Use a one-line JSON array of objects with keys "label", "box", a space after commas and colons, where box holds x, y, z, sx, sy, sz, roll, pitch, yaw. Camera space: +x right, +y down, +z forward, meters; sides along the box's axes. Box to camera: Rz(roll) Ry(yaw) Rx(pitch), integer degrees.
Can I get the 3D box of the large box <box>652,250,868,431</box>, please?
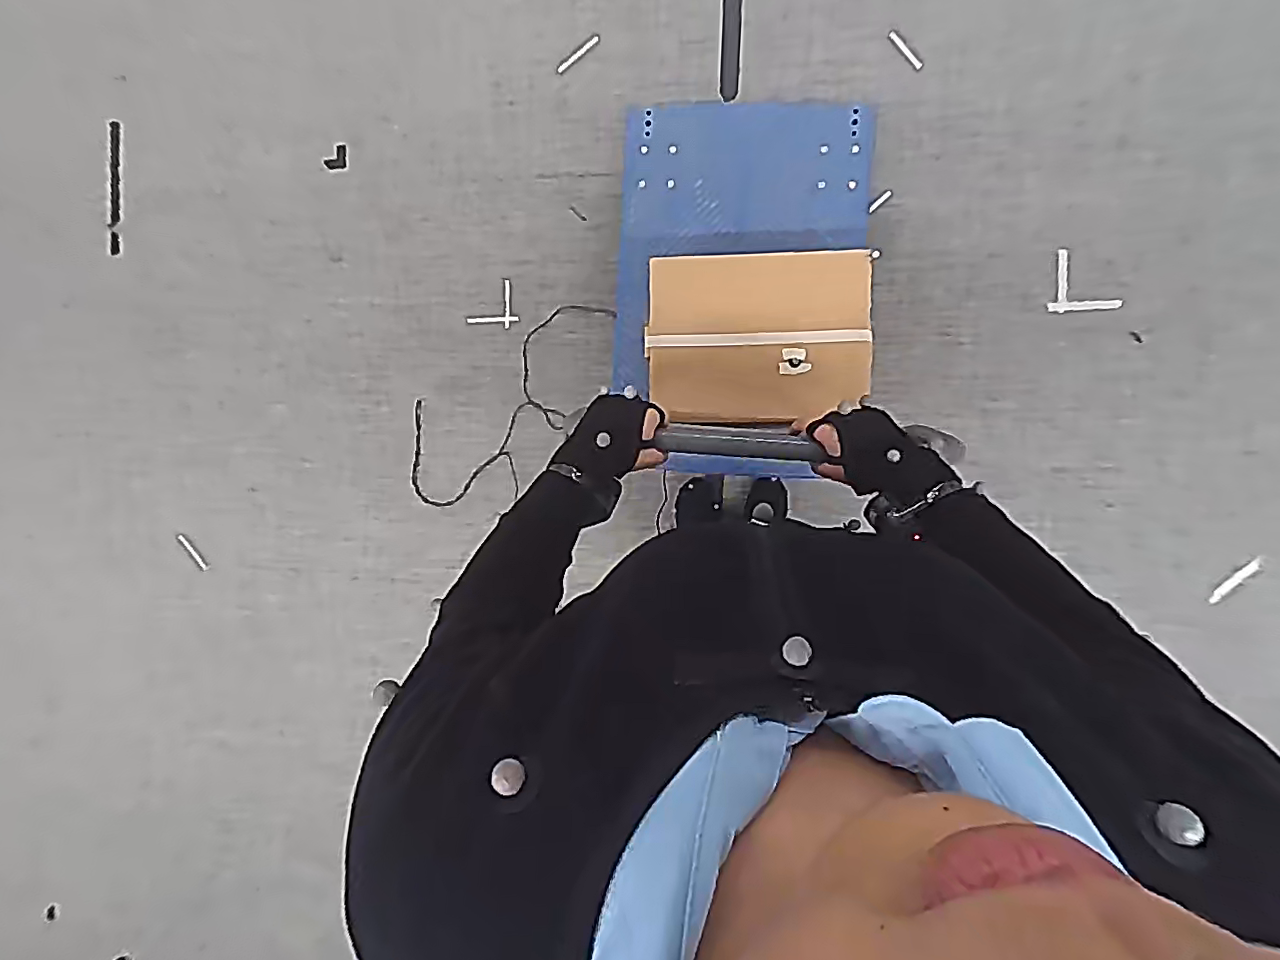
[{"label": "large box", "box": [0.236, -0.272, 1.164, 0.408, 0.320, 0.320, 0, 93, 5]}]
